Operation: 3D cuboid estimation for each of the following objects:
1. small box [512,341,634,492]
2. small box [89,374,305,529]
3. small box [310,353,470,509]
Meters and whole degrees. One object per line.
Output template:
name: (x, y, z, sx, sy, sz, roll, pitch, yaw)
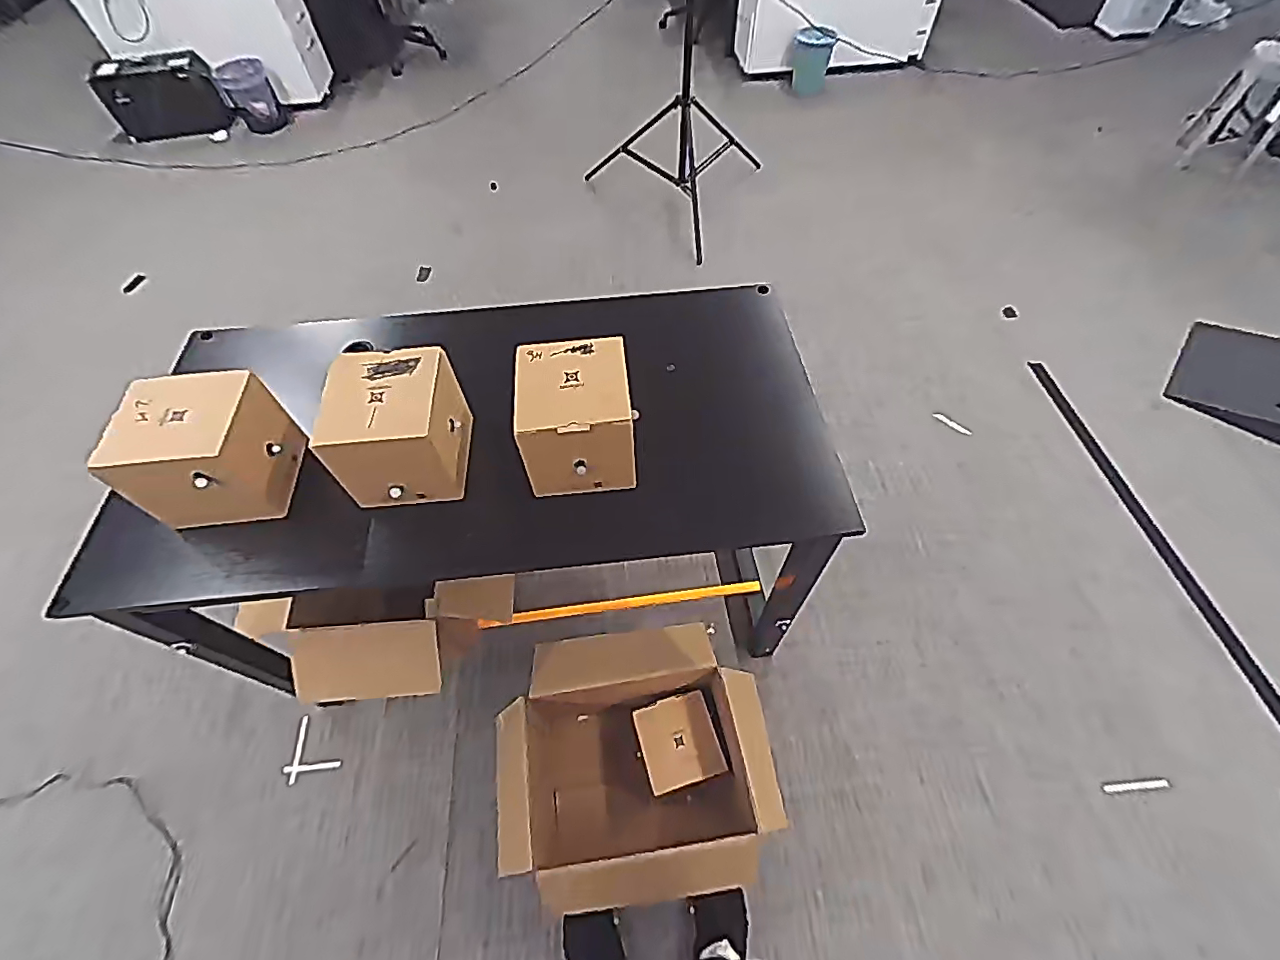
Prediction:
small box: (-0.100, -0.092, 0.857, 0.168, 0.176, 0.179, -6, 57, -2)
small box: (-0.658, -0.040, 0.835, 0.179, 0.176, 0.168, -6, 56, -3)
small box: (-0.376, -0.074, 0.852, 0.168, 0.176, 0.179, -5, 57, -1)
